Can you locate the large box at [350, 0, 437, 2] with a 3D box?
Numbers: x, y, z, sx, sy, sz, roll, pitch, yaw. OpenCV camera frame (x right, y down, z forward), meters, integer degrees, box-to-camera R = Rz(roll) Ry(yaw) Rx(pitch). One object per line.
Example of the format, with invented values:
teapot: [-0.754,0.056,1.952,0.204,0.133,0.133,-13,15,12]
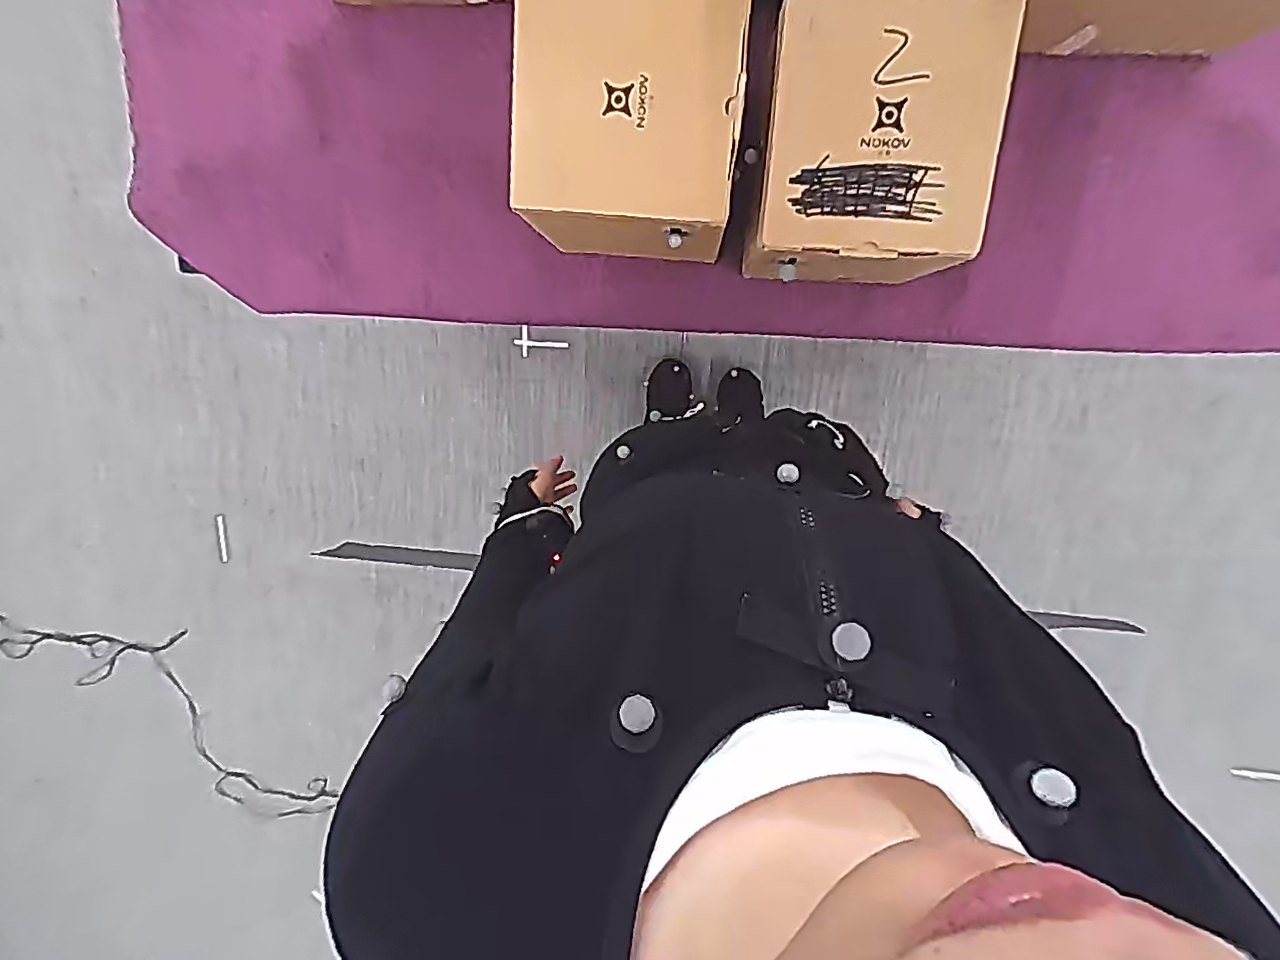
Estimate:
large box: [-0.166,-0.635,0.349,0.320,0.320,0.408,2,106,5]
